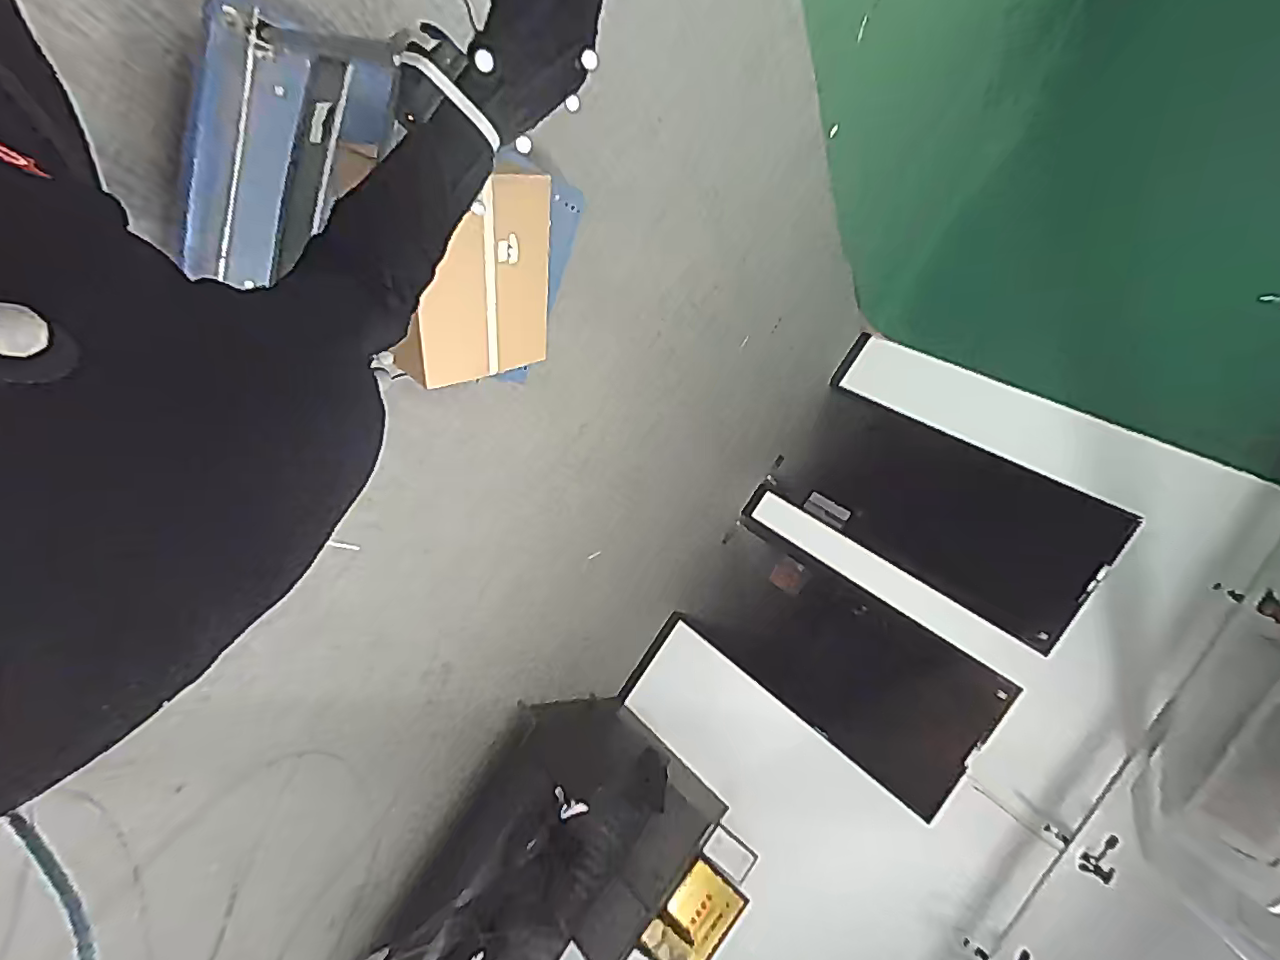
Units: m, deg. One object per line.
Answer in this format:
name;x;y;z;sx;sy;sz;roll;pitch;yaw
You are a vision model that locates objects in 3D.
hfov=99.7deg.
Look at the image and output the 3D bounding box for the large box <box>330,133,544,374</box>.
large box;-0.426;-0.502;1.191;0.320;0.320;0.408;-27;139;-39
